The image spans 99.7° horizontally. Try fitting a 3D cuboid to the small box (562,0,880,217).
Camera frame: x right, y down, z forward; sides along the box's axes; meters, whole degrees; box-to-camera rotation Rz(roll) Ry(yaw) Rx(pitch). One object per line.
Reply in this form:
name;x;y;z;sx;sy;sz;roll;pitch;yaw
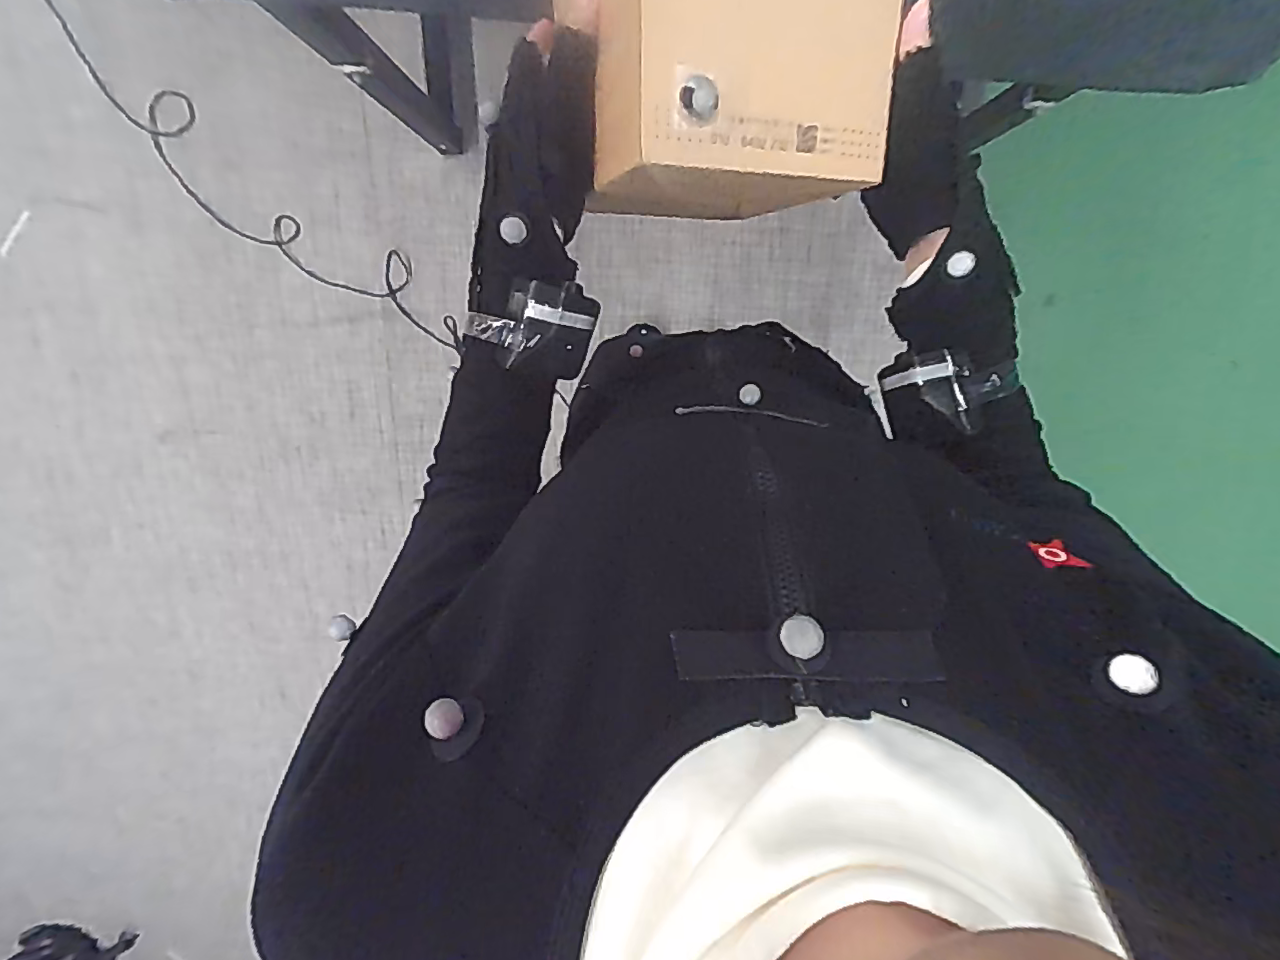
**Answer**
small box;0.048;-0.288;0.377;0.168;0.179;0.176;-7;108;-19
